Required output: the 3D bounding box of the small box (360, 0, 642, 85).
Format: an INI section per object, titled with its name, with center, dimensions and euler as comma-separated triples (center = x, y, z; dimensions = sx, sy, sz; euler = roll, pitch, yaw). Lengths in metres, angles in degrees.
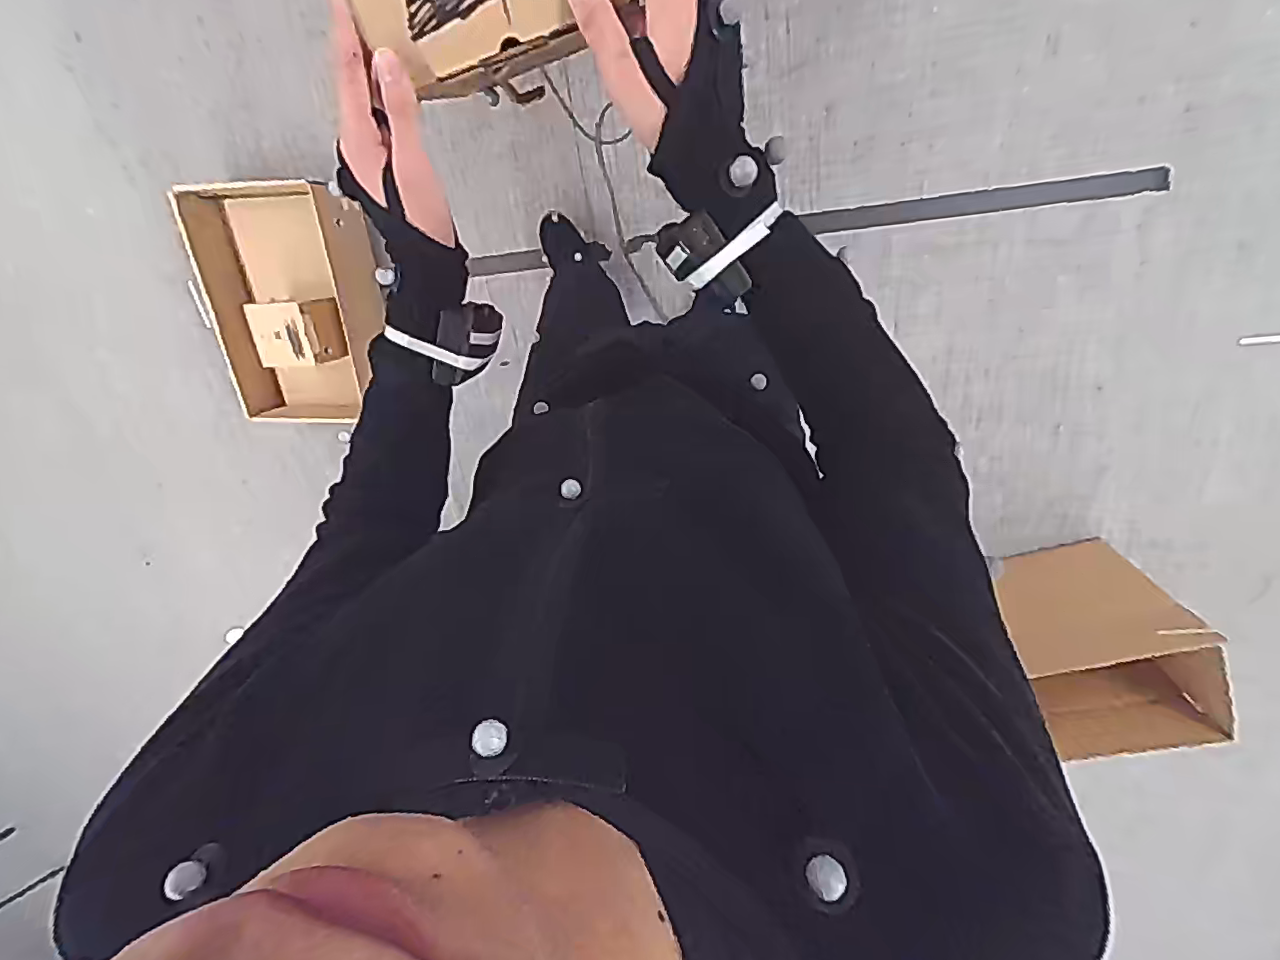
[small box]
center = -0.096, -0.379, 0.340
dimensions = 0.168, 0.176, 0.179
euler = -14, 124, 10
